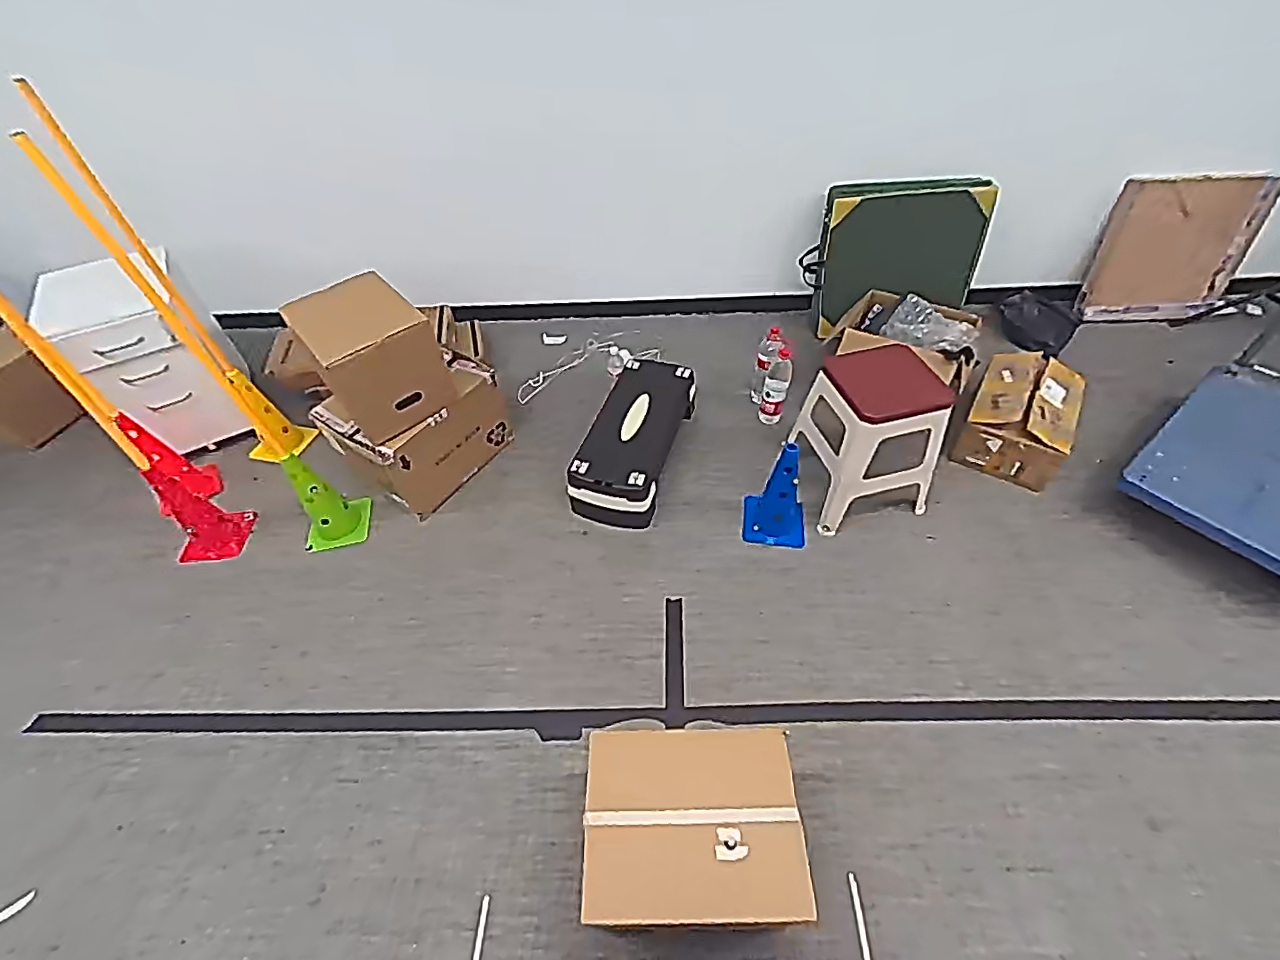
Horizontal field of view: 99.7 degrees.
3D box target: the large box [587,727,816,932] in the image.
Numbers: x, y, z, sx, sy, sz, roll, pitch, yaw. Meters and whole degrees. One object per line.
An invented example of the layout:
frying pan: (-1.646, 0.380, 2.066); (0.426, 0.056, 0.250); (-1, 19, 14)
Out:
large box: (0.103, 0.732, 1.130); (0.408, 0.320, 0.320); (-1, 49, 0)
